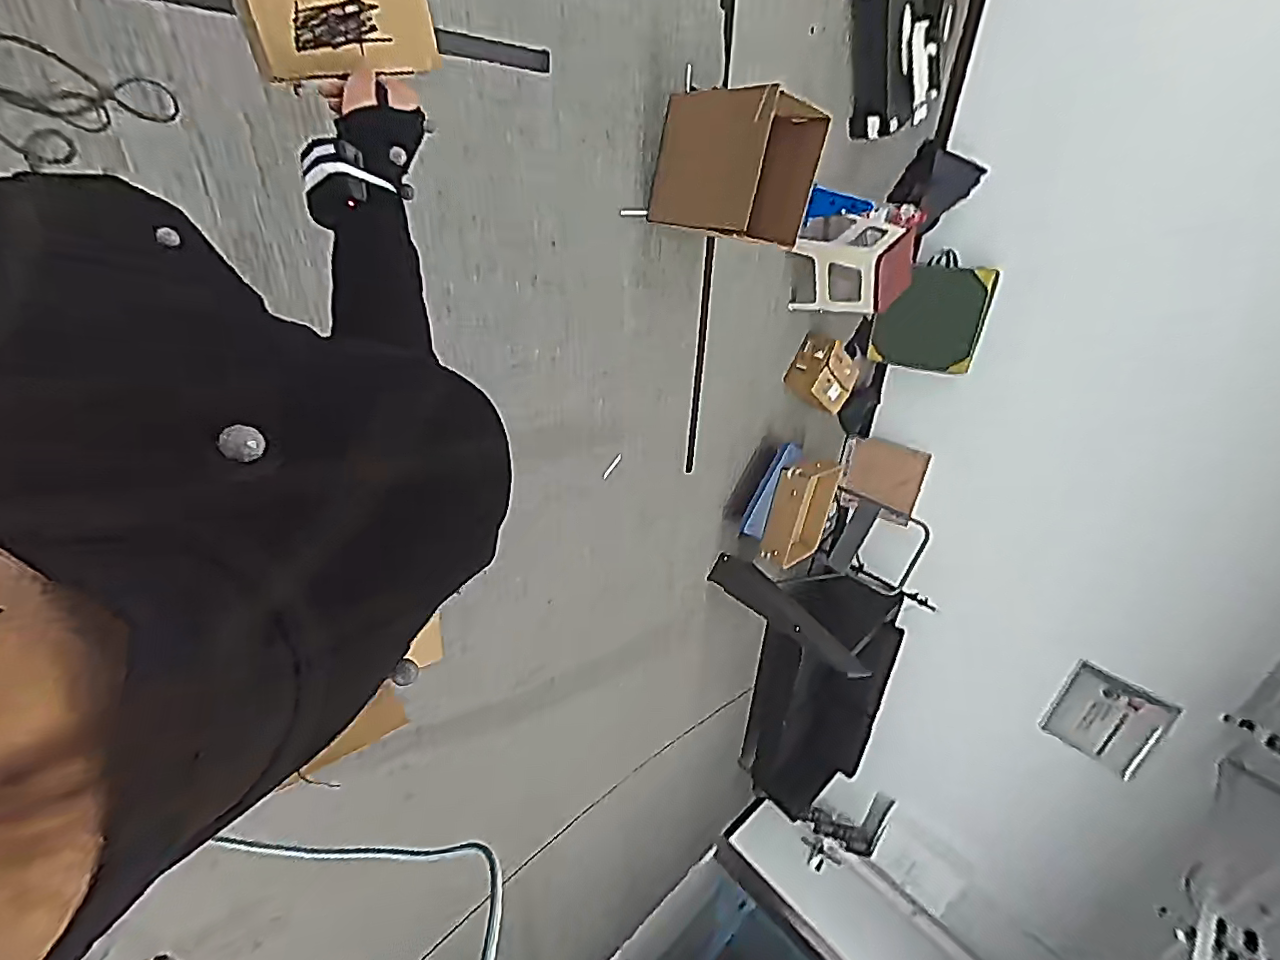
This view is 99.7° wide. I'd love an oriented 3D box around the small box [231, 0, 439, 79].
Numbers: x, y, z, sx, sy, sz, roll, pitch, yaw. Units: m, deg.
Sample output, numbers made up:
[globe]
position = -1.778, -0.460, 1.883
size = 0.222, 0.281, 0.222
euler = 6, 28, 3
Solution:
[small box]
position = -0.331, -0.524, 0.557
size = 0.168, 0.176, 0.179
euler = -23, 130, -25
